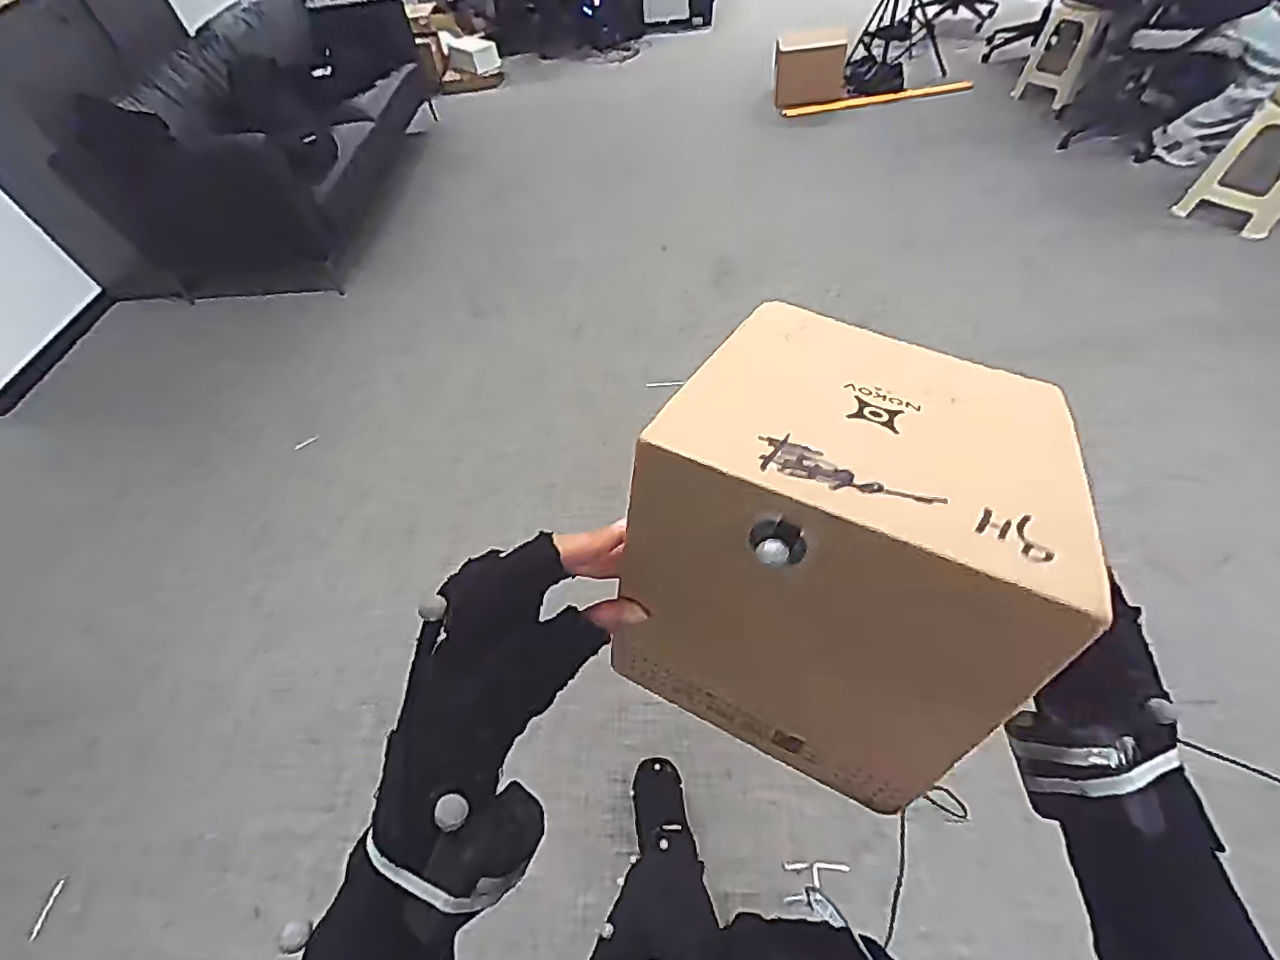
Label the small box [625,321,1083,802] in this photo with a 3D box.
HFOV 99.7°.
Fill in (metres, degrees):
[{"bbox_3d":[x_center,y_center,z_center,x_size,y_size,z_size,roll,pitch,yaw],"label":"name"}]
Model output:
[{"bbox_3d":[0.102,0.033,0.311,0.168,0.176,0.179,22,40,18],"label":"small box"}]
